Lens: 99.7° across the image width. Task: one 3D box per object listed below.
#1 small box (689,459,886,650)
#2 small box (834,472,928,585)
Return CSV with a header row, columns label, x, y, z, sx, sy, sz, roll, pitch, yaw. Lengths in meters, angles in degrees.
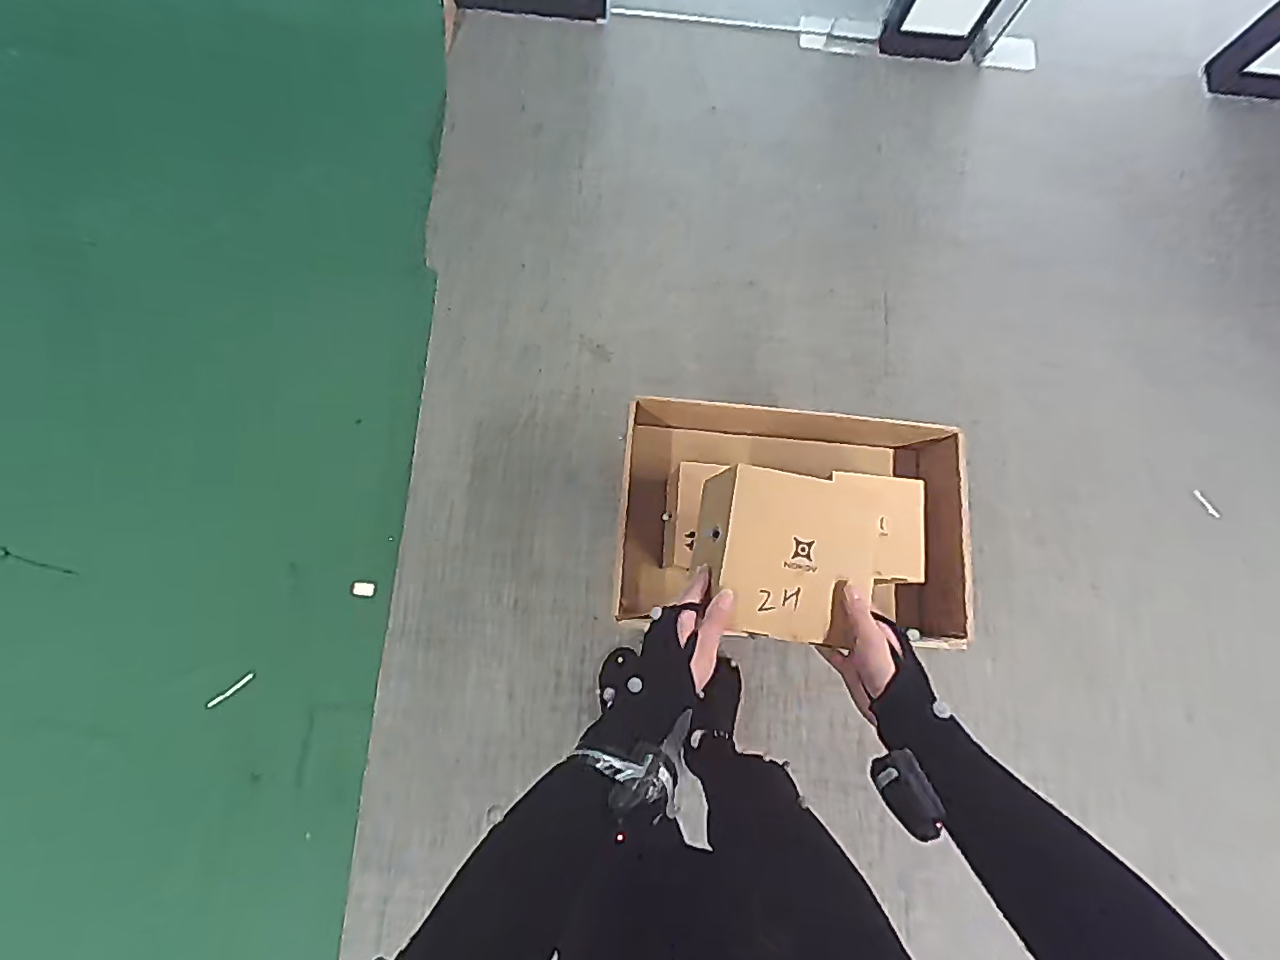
label,x,y,z,sx,sy,sz,roll,pitch,yaw
small box,0.163,0.086,0.643,0.168,0.176,0.179,11,83,-5
small box,0.394,0.094,0.981,0.168,0.176,0.179,6,79,-4
